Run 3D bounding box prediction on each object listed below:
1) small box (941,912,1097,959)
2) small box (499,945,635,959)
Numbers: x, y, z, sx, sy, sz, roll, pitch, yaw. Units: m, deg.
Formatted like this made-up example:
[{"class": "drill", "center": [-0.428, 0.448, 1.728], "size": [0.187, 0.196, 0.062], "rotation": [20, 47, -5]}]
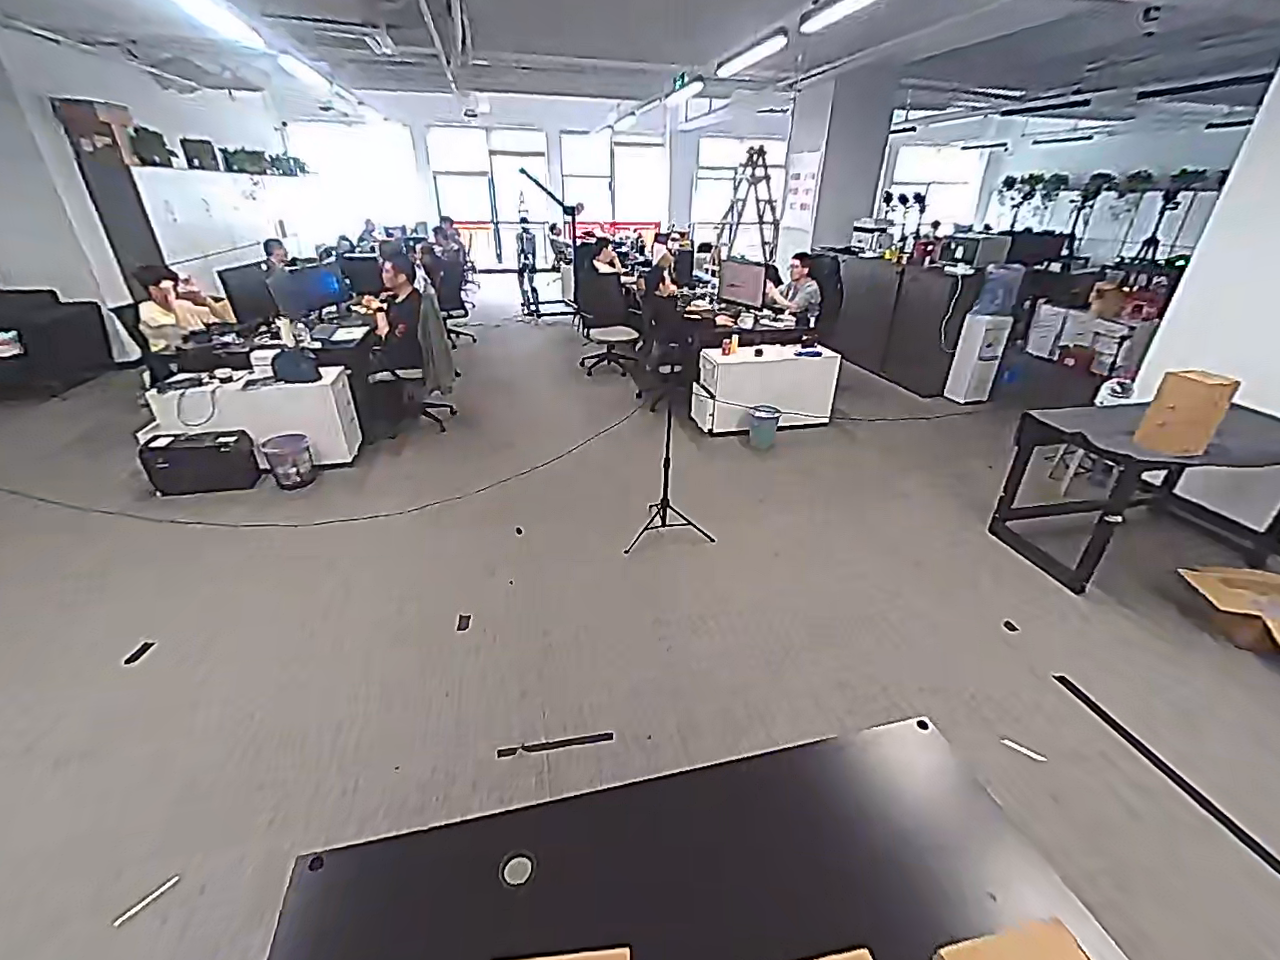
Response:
[{"class": "small box", "center": [0.464, 0.661, 0.637], "size": [0.179, 0.176, 0.168], "rotation": [-6, 28, -9]}, {"class": "small box", "center": [-0.084, 0.674, 0.607], "size": [0.168, 0.176, 0.179], "rotation": [-2, 28, -5]}]
